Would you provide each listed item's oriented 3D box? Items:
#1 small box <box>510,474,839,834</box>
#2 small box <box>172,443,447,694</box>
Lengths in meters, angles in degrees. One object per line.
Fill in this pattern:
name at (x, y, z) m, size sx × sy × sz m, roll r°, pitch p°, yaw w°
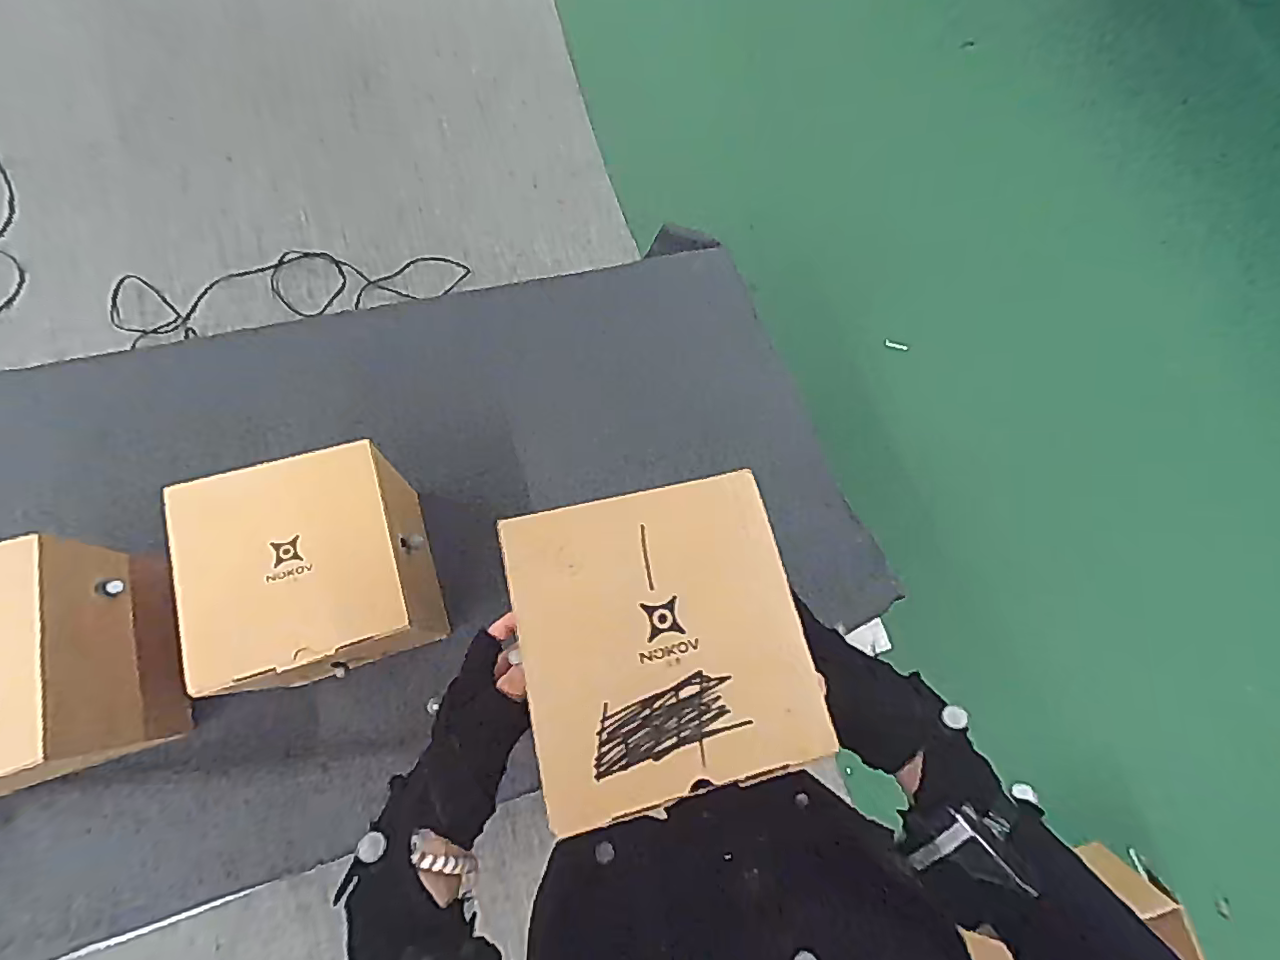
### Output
small box at (0.010, 0.113, 0.392) m, size 0.168 × 0.176 × 0.179 m, roll -11°, pitch 74°, yaw -10°
small box at (-0.300, 0.089, 0.524) m, size 0.168 × 0.176 × 0.179 m, roll -16°, pitch 77°, yaw -14°
